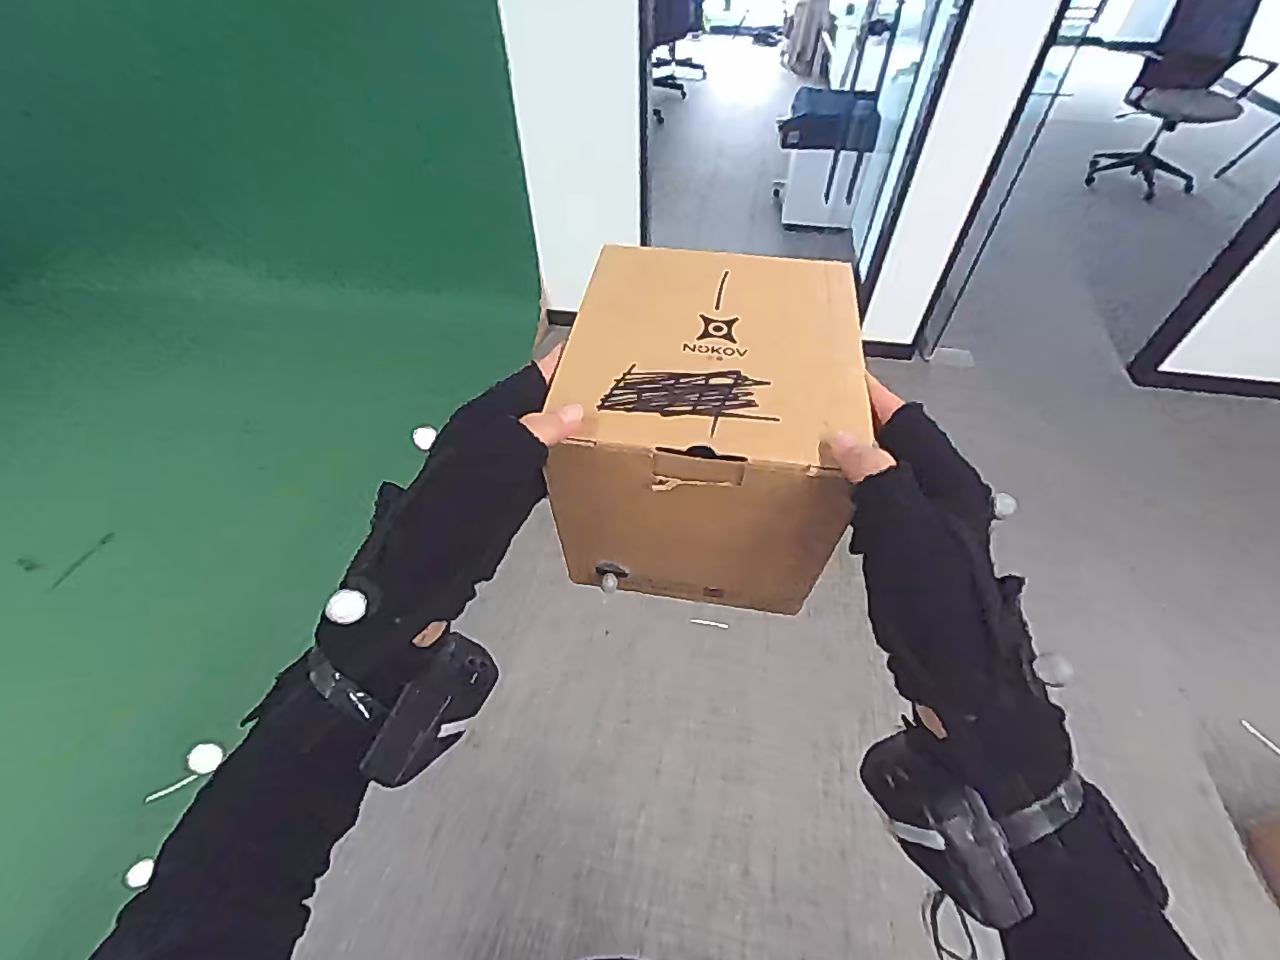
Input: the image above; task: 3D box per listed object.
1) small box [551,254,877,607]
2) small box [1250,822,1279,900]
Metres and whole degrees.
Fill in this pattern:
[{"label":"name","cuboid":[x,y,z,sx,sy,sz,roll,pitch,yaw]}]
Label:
[{"label":"small box","cuboid":[0.050,-0.030,0.379,0.168,0.176,0.179,7,53,6]},{"label":"small box","cuboid":[1.456,0.821,1.120,0.168,0.176,0.179,8,49,8]}]
